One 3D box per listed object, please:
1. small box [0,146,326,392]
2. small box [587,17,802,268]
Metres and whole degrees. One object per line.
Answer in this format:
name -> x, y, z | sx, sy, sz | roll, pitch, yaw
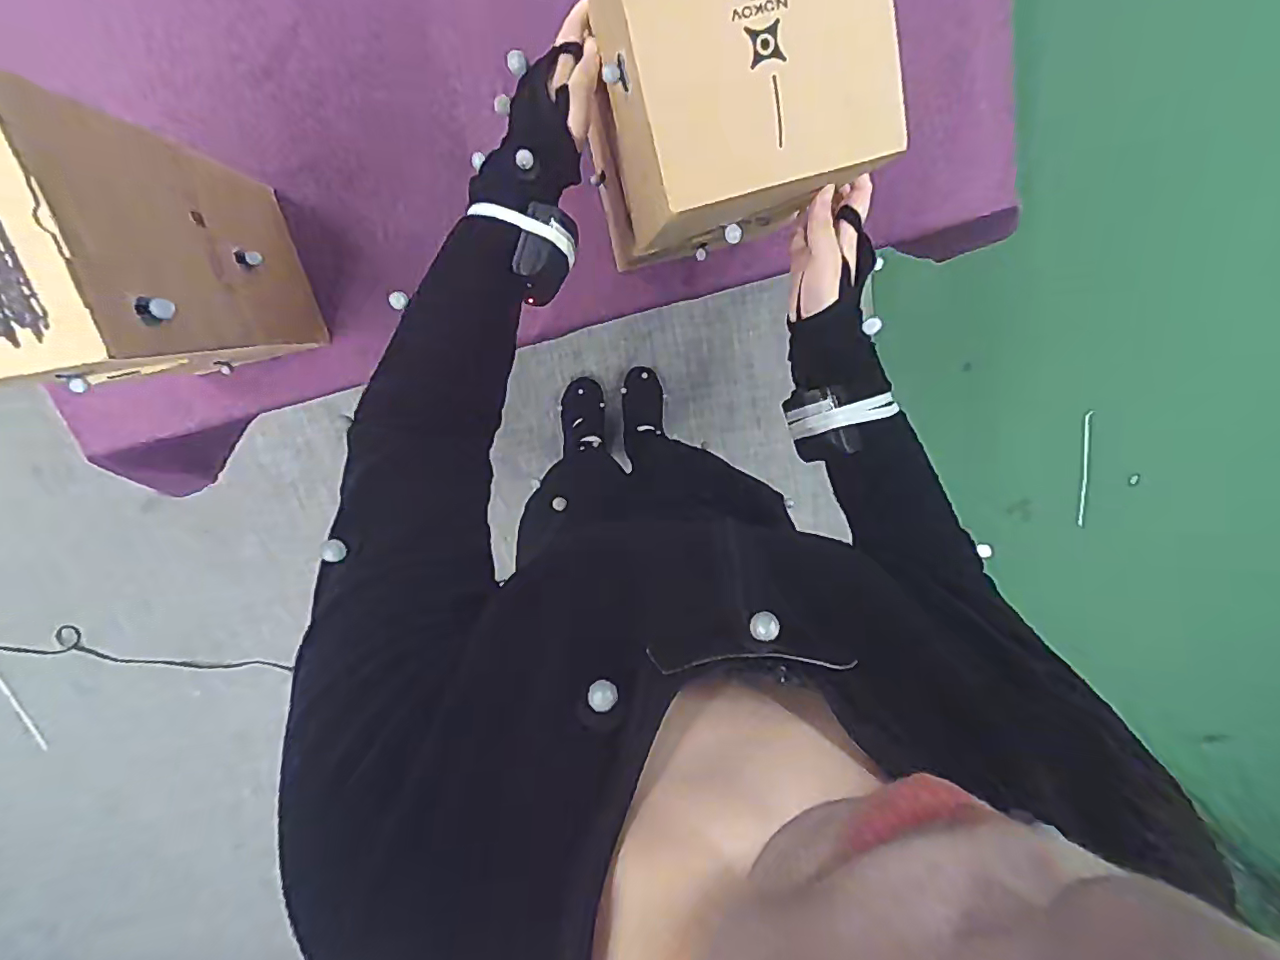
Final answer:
small box -> -0.458, -0.200, 0.543 | 0.168, 0.176, 0.179 | -15, 108, -3
small box -> 0.047, -0.330, 0.567 | 0.179, 0.176, 0.168 | -14, 108, -3
